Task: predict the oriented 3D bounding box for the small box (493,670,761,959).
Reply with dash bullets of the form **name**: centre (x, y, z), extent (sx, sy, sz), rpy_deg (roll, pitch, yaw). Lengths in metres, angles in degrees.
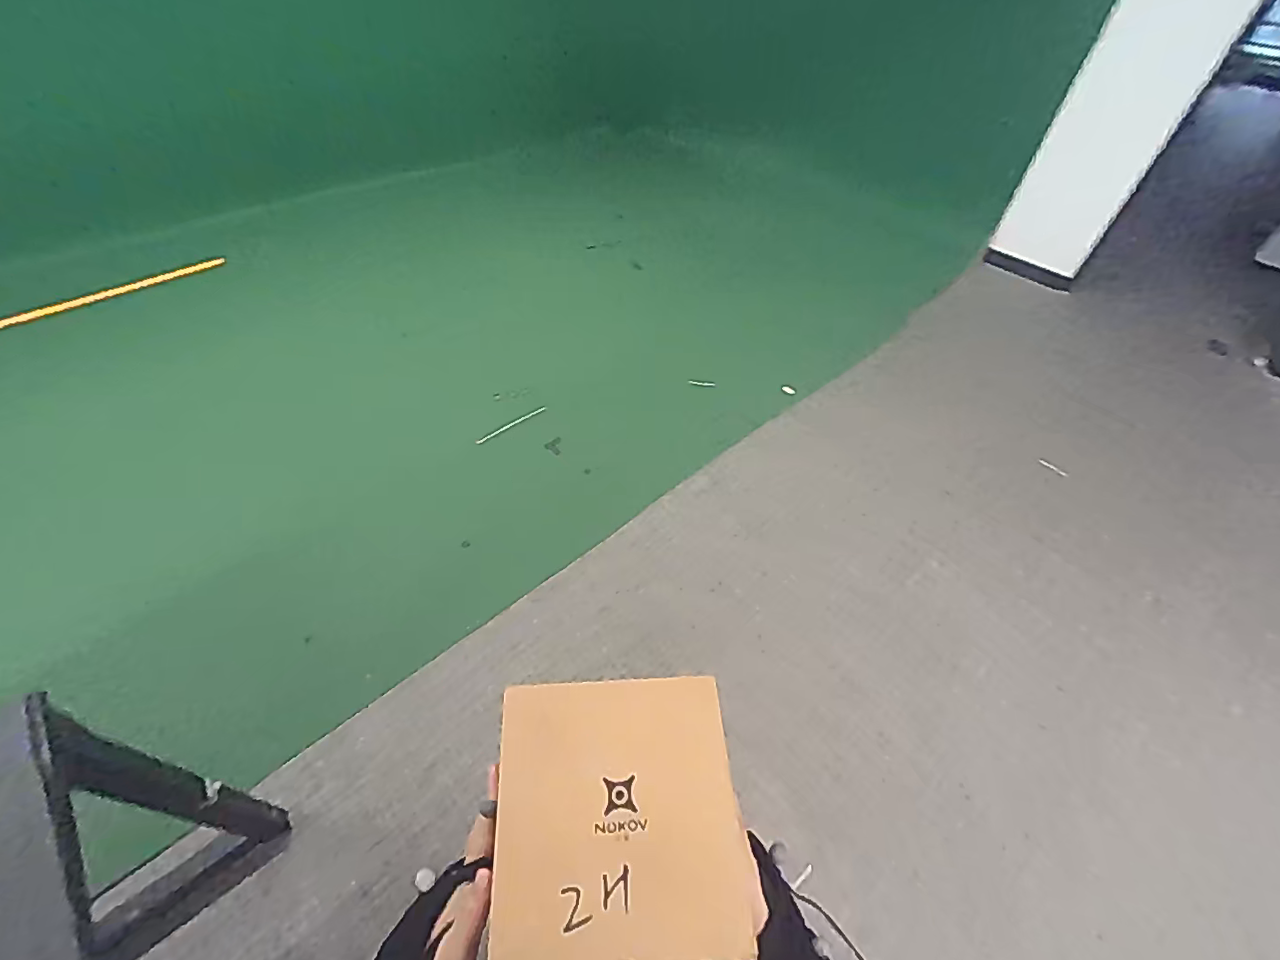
- **small box**: centre (-0.020, 0.268, 0.435), extent (0.168, 0.176, 0.179), rpy_deg (1, 54, -7)
